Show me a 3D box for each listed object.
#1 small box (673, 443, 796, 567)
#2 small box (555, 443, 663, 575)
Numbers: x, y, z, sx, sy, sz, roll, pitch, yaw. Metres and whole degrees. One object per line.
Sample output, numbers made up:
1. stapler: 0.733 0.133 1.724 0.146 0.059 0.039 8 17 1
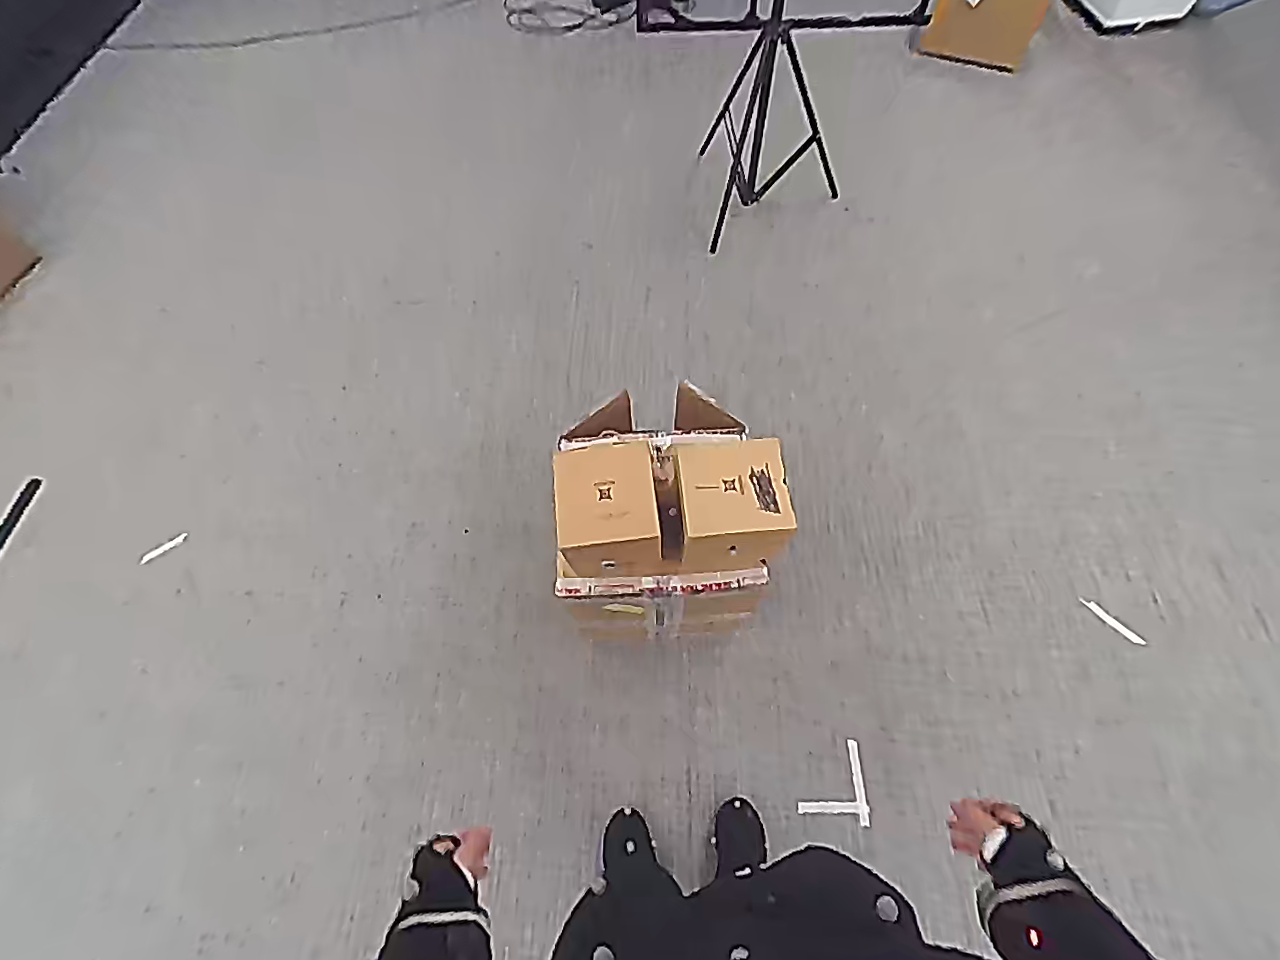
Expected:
1. small box: 0.155 0.050 0.953 0.179 0.176 0.168 -4 65 -1
2. small box: -0.052 0.057 0.959 0.168 0.176 0.179 -8 67 0
